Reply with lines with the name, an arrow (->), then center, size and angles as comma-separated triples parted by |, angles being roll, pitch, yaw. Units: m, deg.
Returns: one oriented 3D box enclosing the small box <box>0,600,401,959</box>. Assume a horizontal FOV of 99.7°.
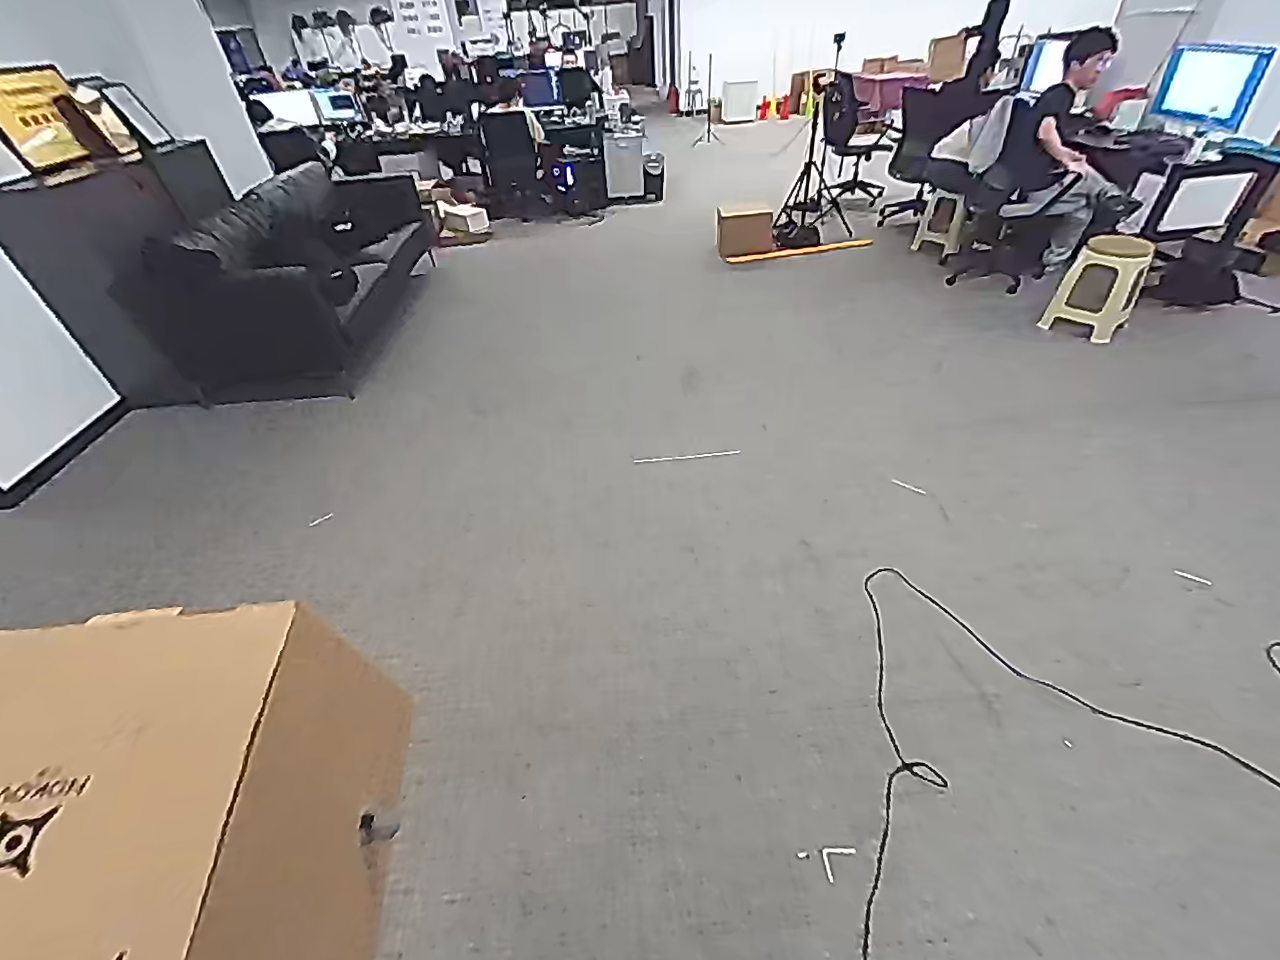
small box -> -0.242, 0.185, 0.277 | 0.168, 0.176, 0.179 | -6, 51, -3
